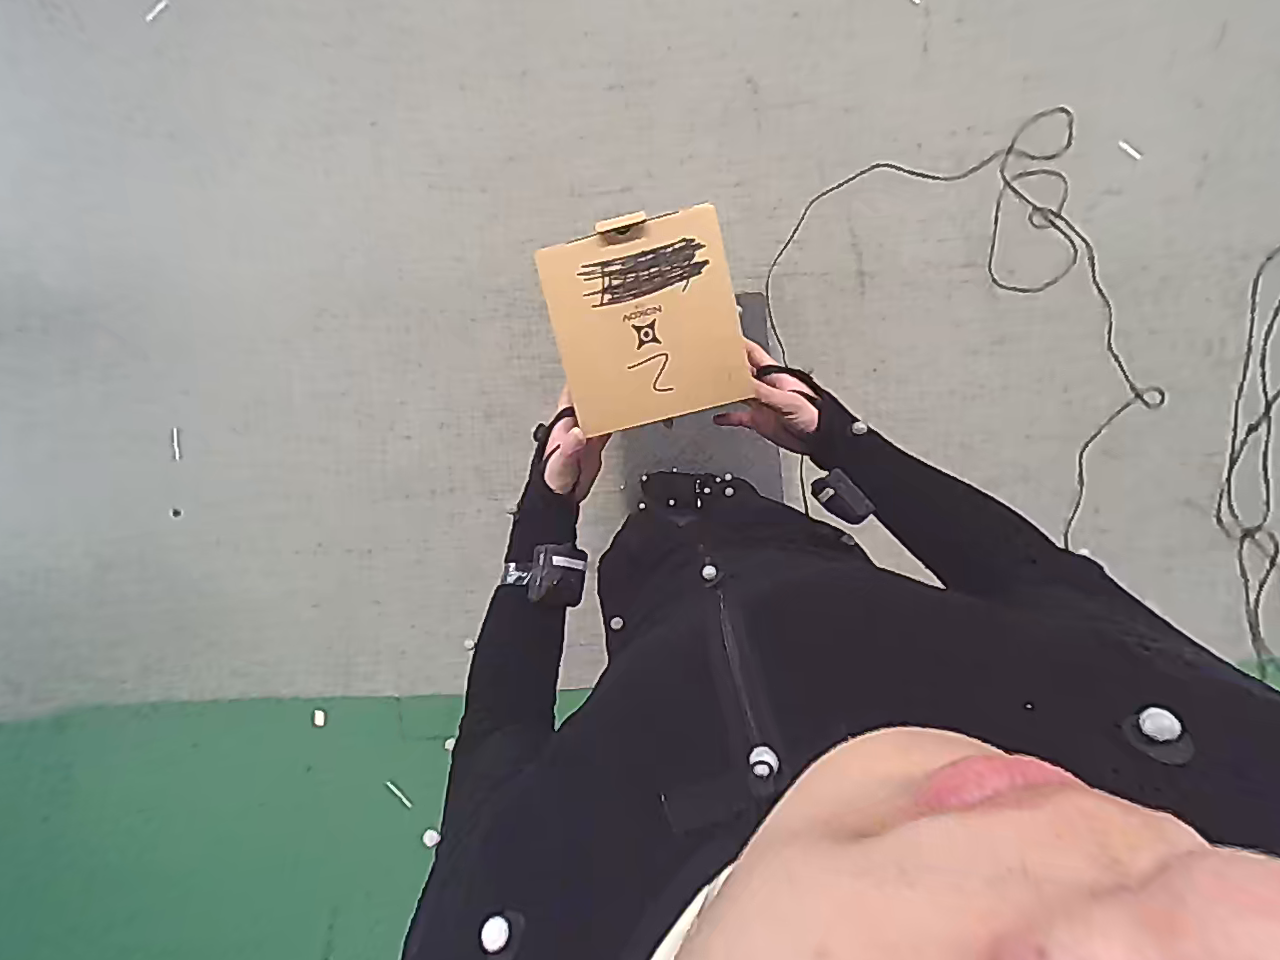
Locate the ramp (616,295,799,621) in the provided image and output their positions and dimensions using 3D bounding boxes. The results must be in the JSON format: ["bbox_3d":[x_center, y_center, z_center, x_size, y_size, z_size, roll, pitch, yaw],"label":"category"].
[{"bbox_3d":[0.192,-0.087,1.671,0.509,0.206,0.991,-5,91,3],"label":"ramp"}]
